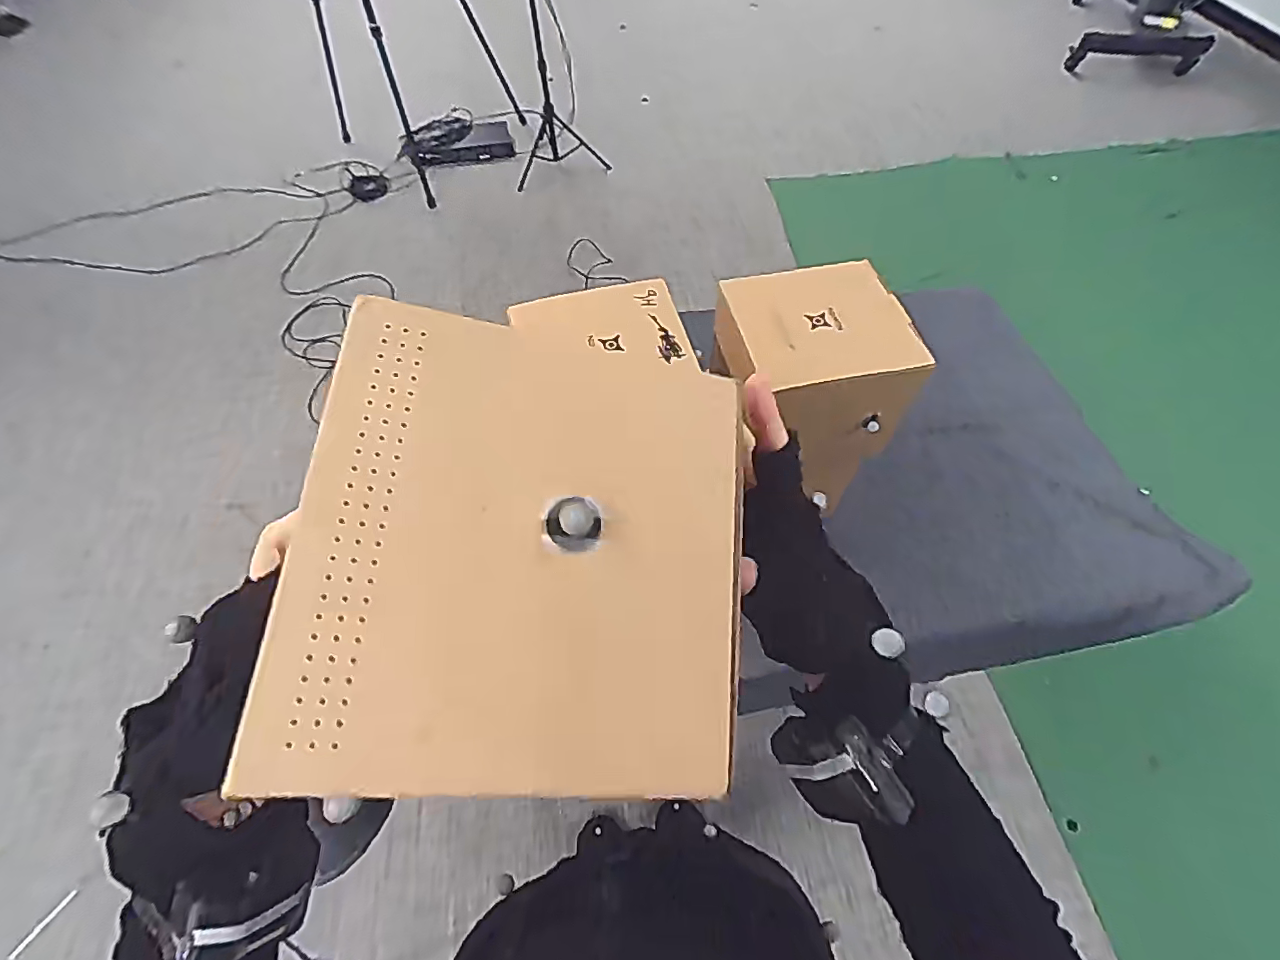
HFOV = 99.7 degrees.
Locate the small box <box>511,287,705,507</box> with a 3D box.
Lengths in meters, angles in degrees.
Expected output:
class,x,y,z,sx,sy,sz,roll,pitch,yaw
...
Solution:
class,x,y,z,sx,sy,sz,roll,pitch,yaw
small box,-0.034,-0.087,0.620,0.179,0.176,0.168,-13,60,-6
